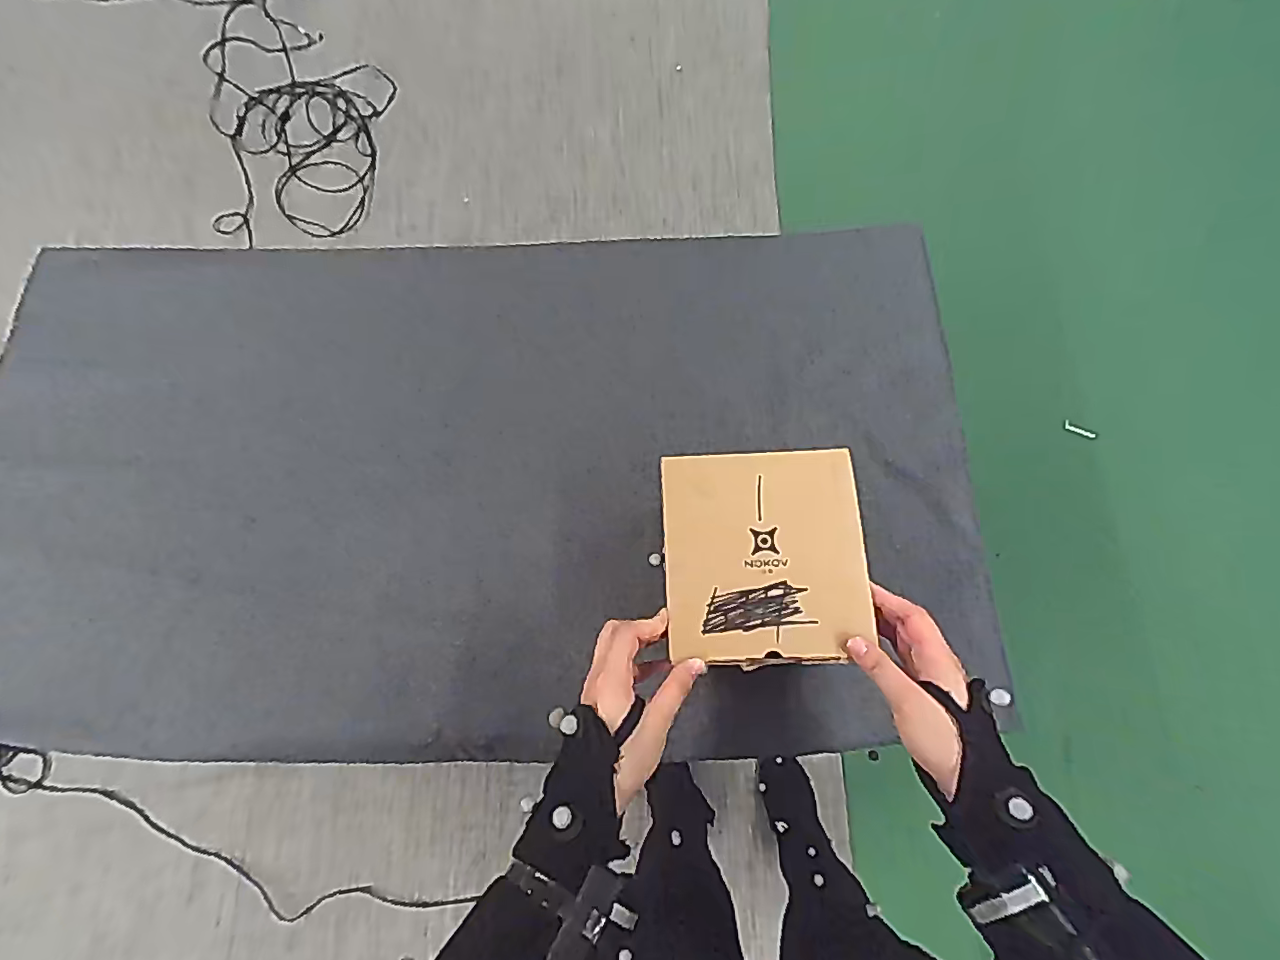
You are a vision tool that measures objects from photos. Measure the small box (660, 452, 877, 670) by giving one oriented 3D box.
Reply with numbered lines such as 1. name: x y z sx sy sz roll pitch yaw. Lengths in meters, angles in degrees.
1. small box: 0.106 0.084 0.519 0.168 0.176 0.179 -2 73 3
